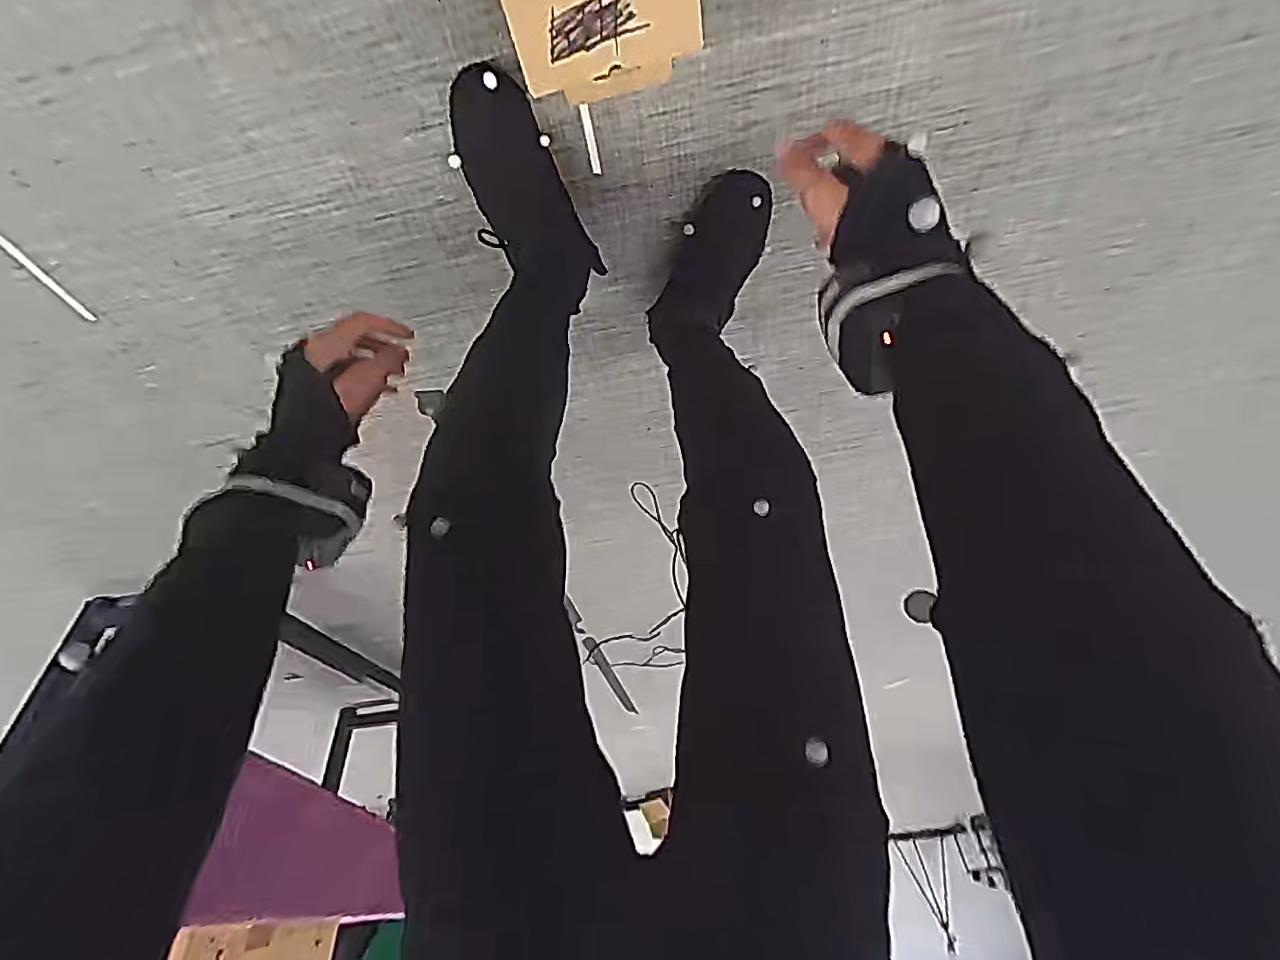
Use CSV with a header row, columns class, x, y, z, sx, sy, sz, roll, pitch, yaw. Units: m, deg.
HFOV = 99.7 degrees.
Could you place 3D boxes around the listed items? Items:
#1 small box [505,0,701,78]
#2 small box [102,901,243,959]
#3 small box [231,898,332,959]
class,x,y,z,sx,sy,sz,roll,pitch,yaw
small box,-0.044,-0.496,0.469,0.168,0.176,0.179,-10,142,6
small box,-1.021,1.026,1.173,0.179,0.176,0.168,-10,143,7
small box,-1.044,1.333,1.579,0.179,0.176,0.168,-9,144,5
